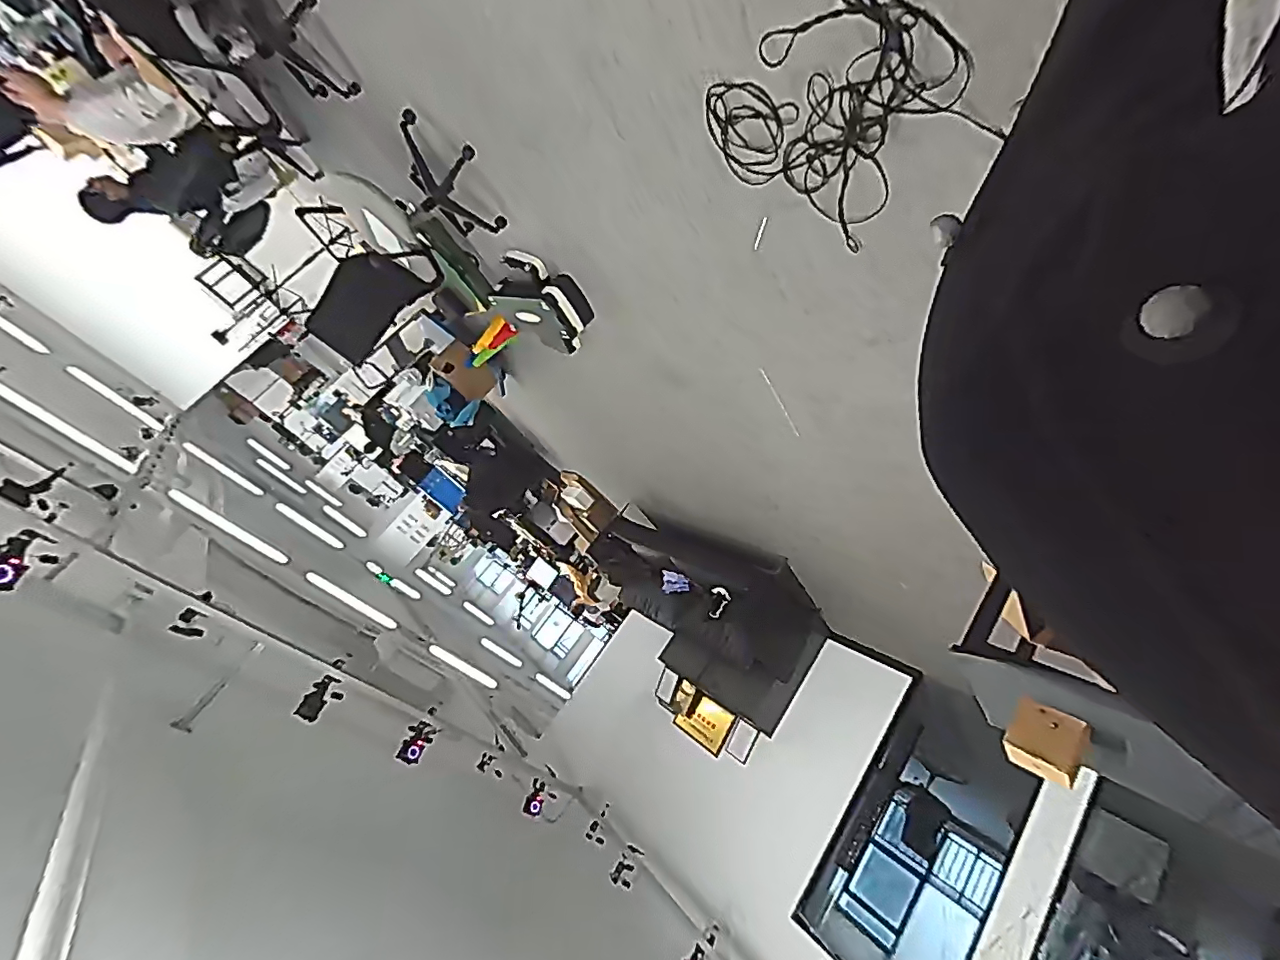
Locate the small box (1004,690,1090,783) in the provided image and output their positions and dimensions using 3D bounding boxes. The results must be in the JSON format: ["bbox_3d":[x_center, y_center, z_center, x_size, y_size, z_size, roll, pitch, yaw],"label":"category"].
[{"bbox_3d":[1.256,0.785,1.664,0.168,0.176,0.179,17,154,50],"label":"small box"}]
